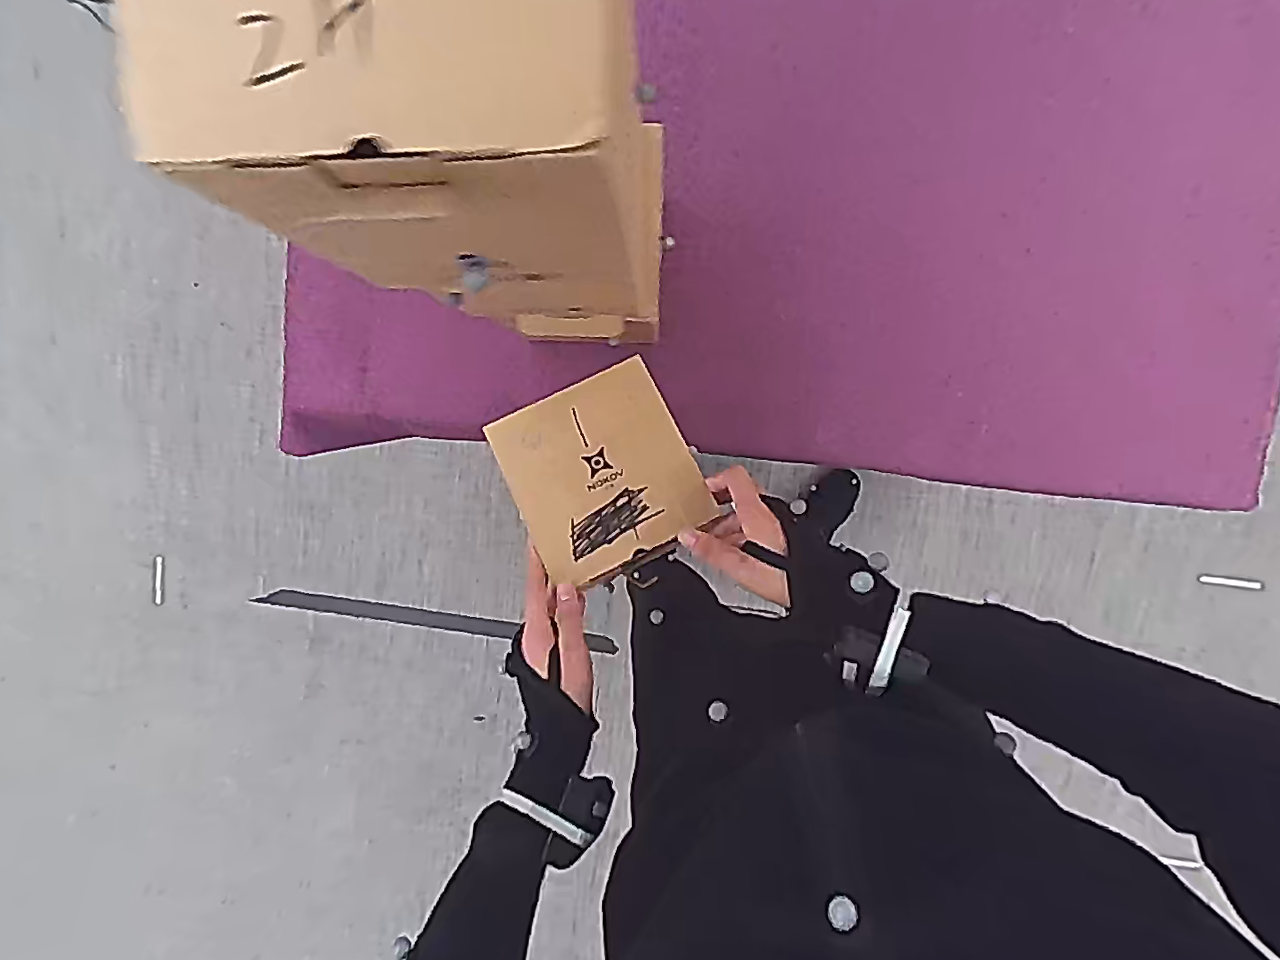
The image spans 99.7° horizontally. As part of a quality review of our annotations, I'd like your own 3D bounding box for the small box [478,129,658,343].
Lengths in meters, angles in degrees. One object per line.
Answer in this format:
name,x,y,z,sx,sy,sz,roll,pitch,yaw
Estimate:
small box,-0.067,-0.246,0.583,0.168,0.176,0.179,2,97,2
